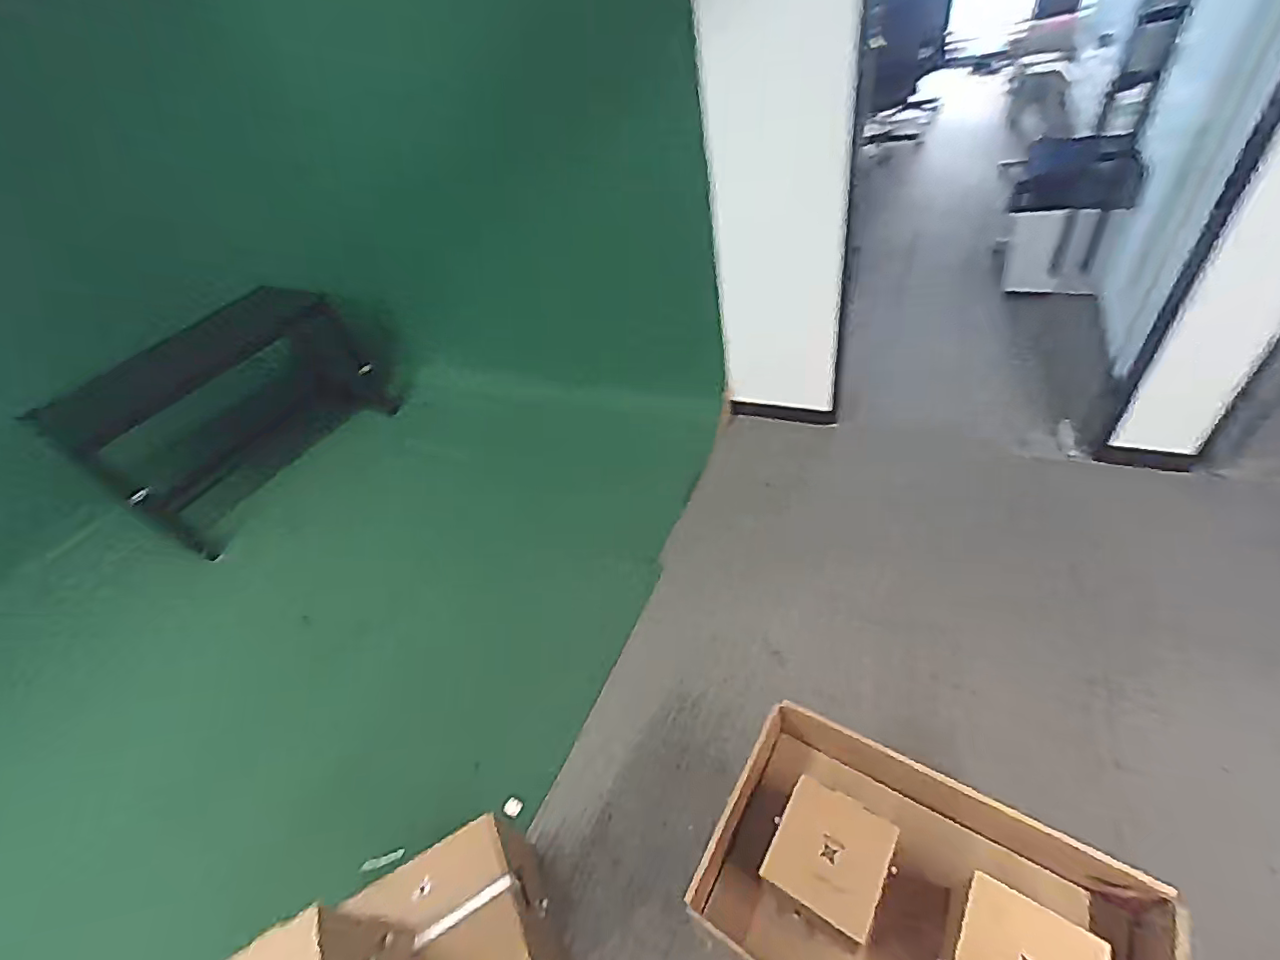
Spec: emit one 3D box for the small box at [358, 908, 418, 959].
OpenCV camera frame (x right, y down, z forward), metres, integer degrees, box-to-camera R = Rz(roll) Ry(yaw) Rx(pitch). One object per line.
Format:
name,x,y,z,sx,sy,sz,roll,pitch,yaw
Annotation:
small box,-0.516,0.934,0.983,0.168,0.176,0.179,-27,47,-14

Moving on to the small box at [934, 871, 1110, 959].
small box,0.537,0.721,0.784,0.168,0.176,0.179,20,54,30

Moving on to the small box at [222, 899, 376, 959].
small box,-0.539,0.825,0.862,0.168,0.176,0.179,-28,46,-14
